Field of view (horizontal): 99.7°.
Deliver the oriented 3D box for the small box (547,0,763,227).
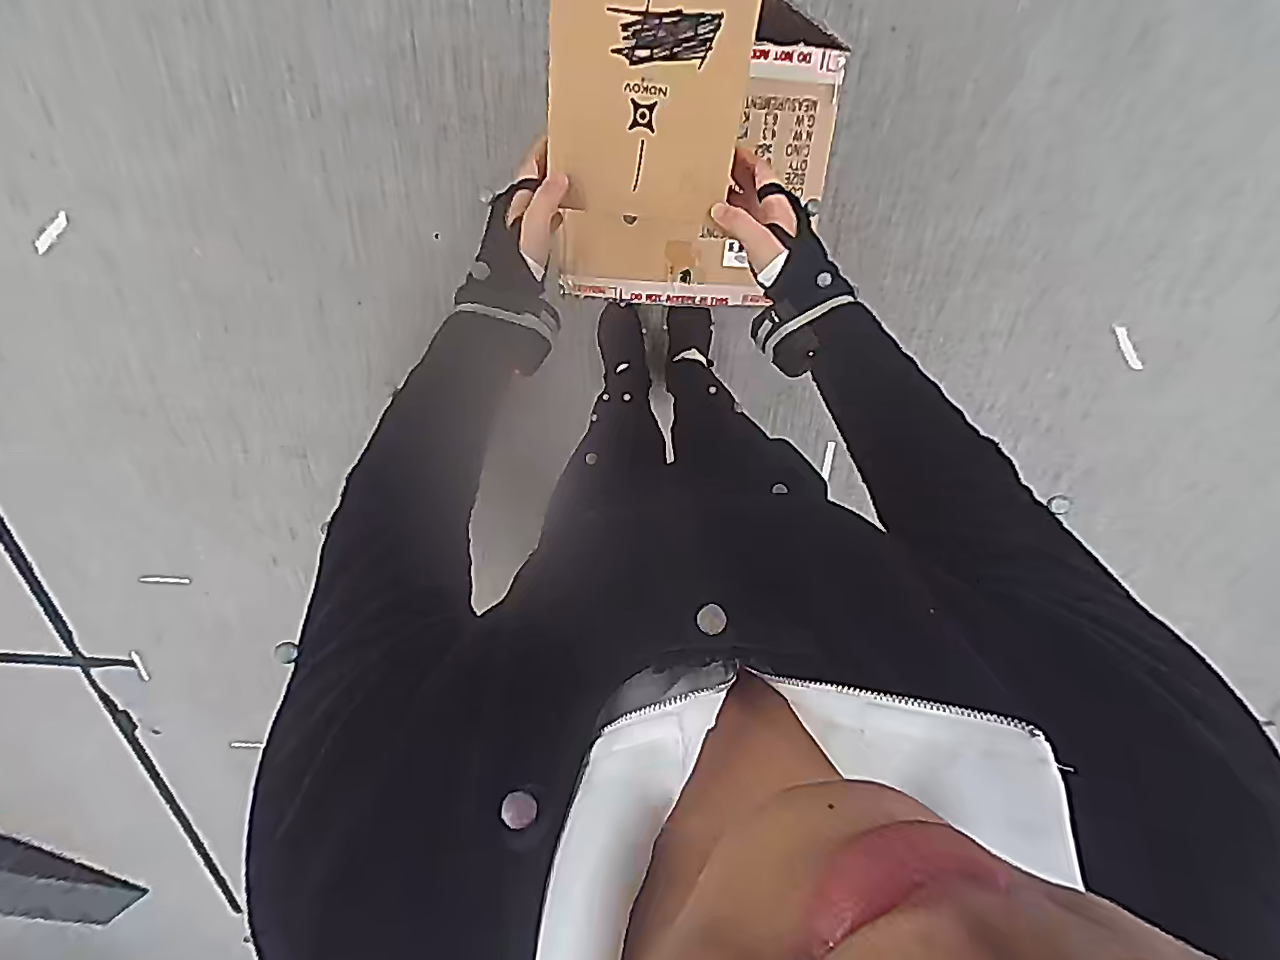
[{"bbox_3d":[0.006,-0.359,0.525,0.168,0.176,0.179,6,121,-3],"label":"small box"}]
